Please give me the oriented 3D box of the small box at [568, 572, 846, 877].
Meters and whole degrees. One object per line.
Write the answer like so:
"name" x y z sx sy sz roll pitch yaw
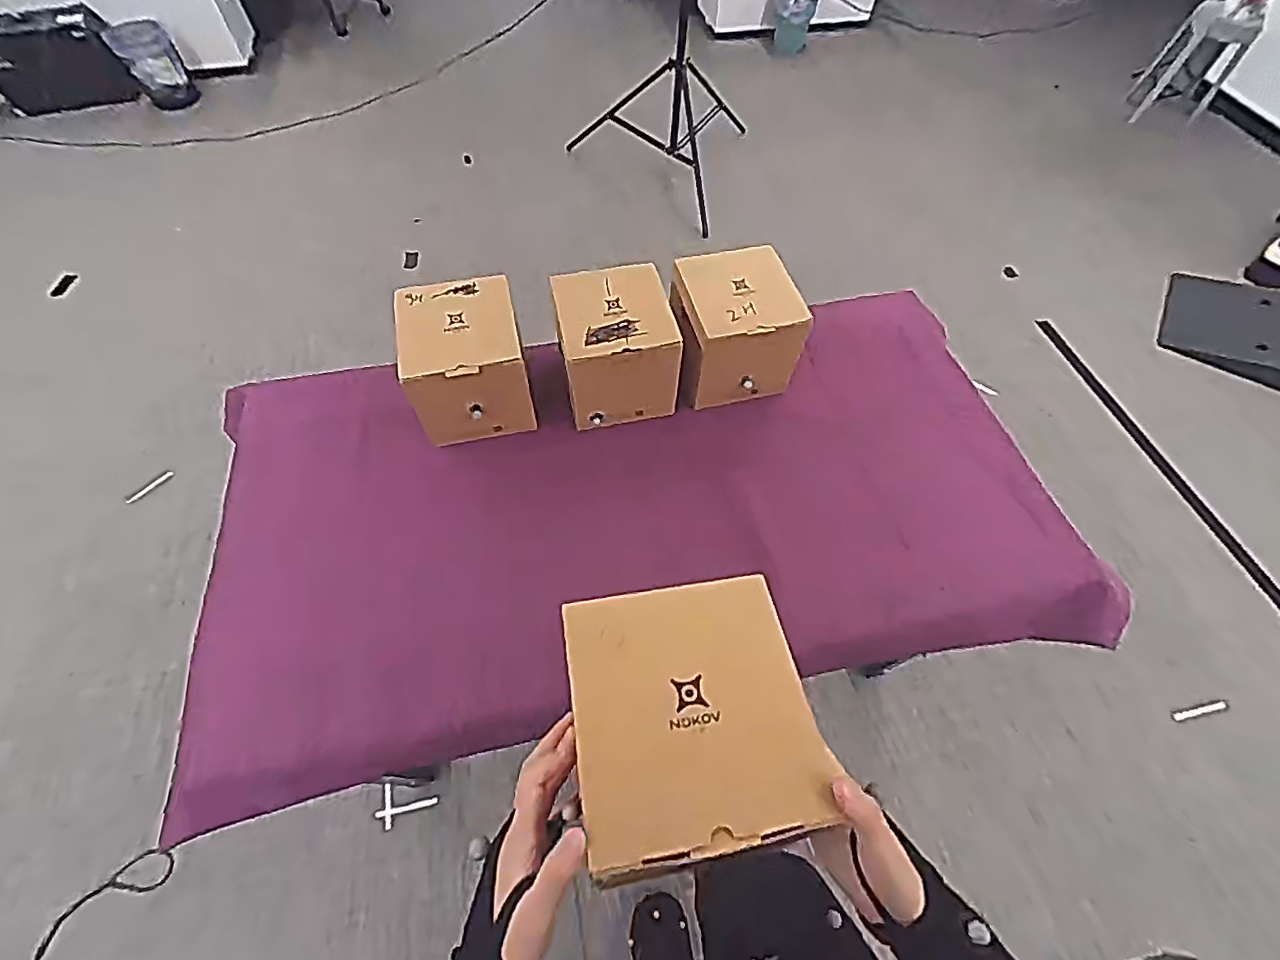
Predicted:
"small box" 0.034 0.202 0.445 0.168 0.176 0.179 -8 53 -8

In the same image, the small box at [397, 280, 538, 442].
"small box" -0.259 -0.173 0.834 0.168 0.176 0.179 -11 63 -8
